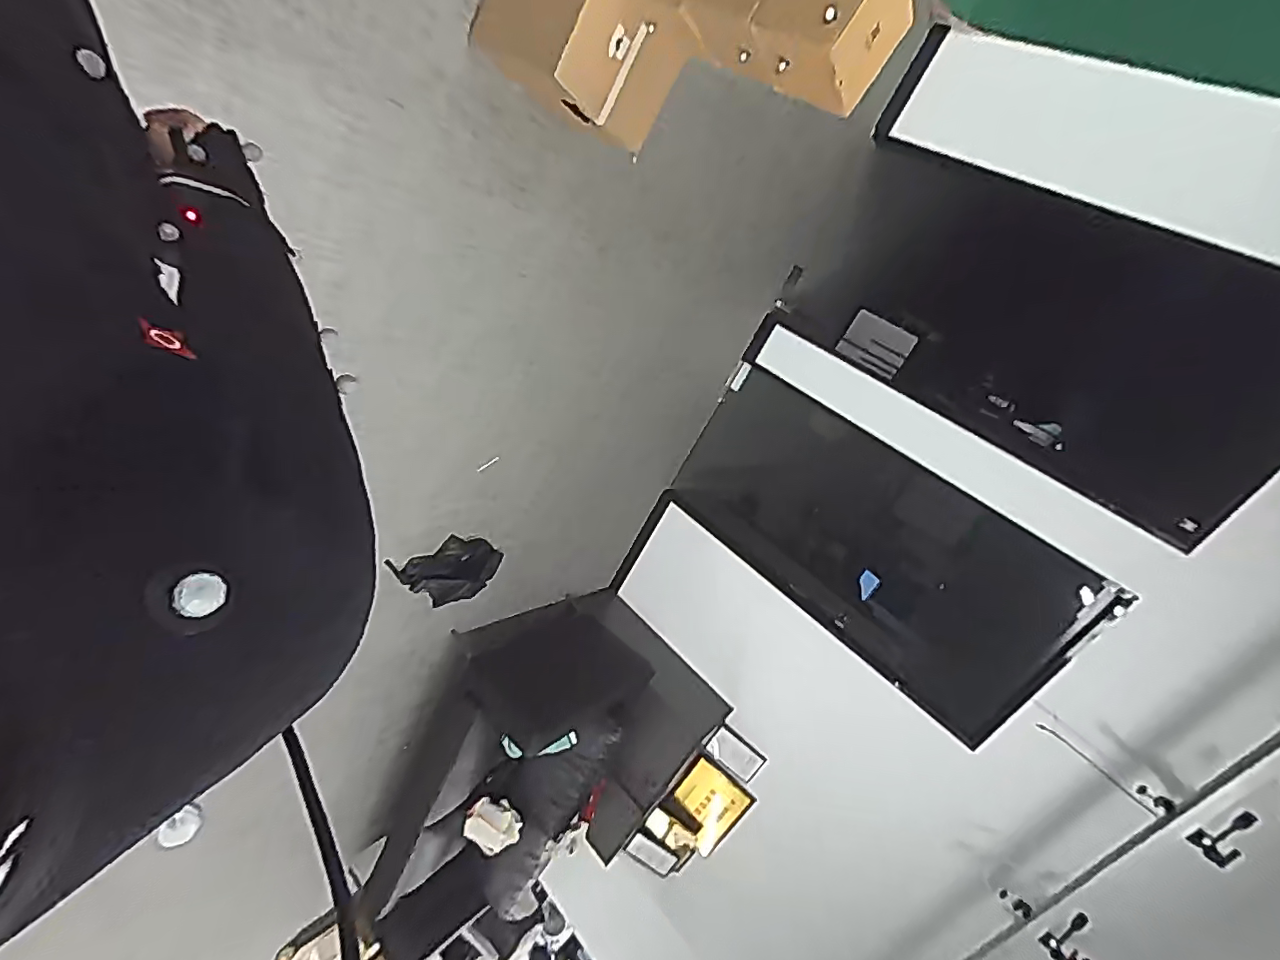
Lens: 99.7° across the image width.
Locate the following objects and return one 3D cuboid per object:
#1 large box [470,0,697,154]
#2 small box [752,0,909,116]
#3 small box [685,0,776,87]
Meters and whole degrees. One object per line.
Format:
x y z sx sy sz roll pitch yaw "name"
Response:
-0.101 -1.041 1.190 0.320 0.320 0.408 1 126 -57 "large box"
0.319 -0.770 0.905 0.179 0.176 0.168 -54 155 15 "small box"
0.208 -0.868 0.973 0.168 0.176 0.179 -55 155 16 "small box"
